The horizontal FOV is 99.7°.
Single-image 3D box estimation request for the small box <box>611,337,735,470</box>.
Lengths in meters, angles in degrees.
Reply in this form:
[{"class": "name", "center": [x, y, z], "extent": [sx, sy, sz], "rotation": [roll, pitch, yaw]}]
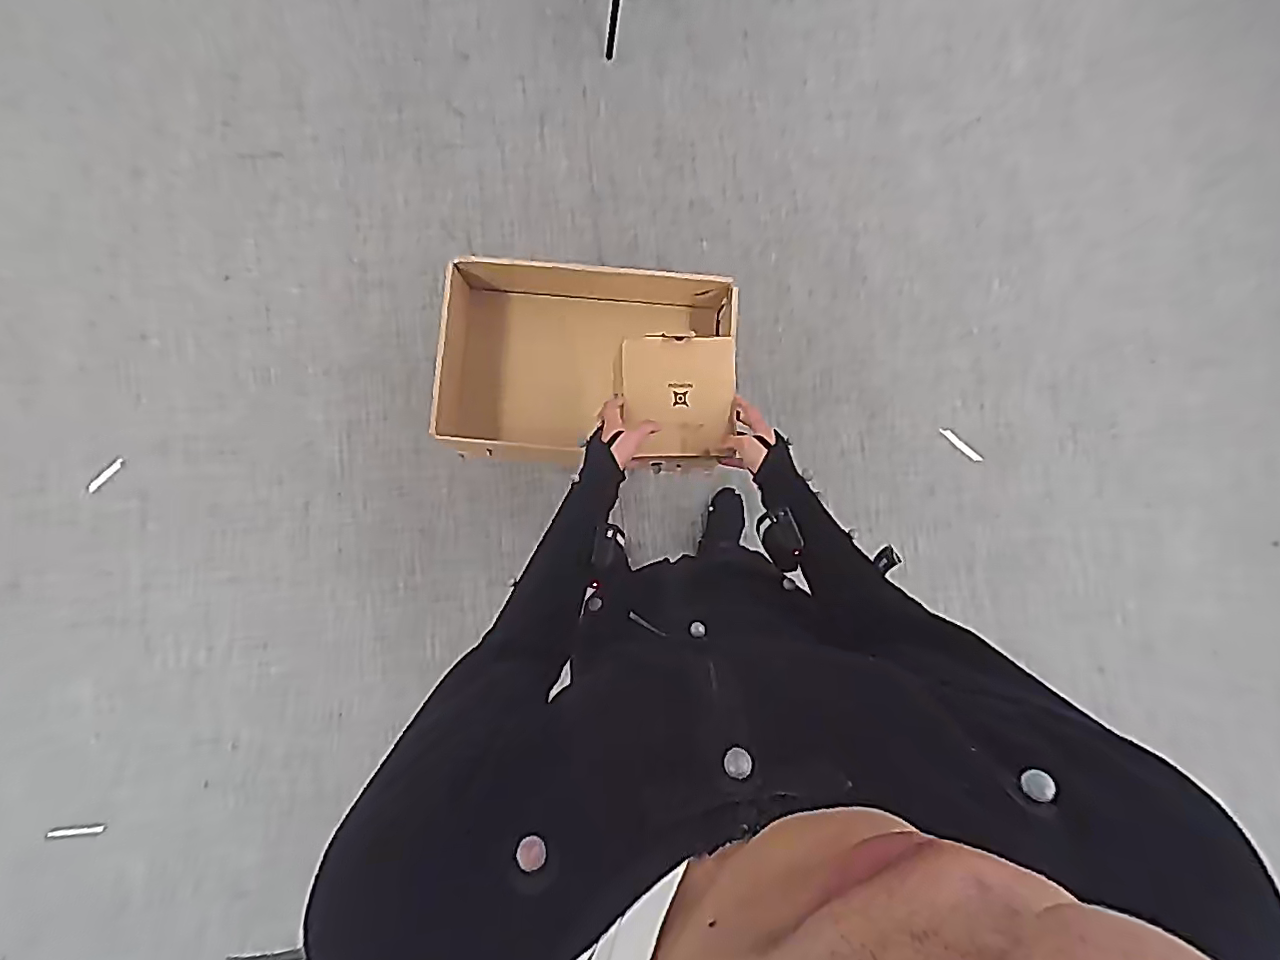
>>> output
[{"class": "small box", "center": [0.043, -0.110, 0.838], "extent": [0.168, 0.176, 0.179], "rotation": [-1, 87, -7]}]
